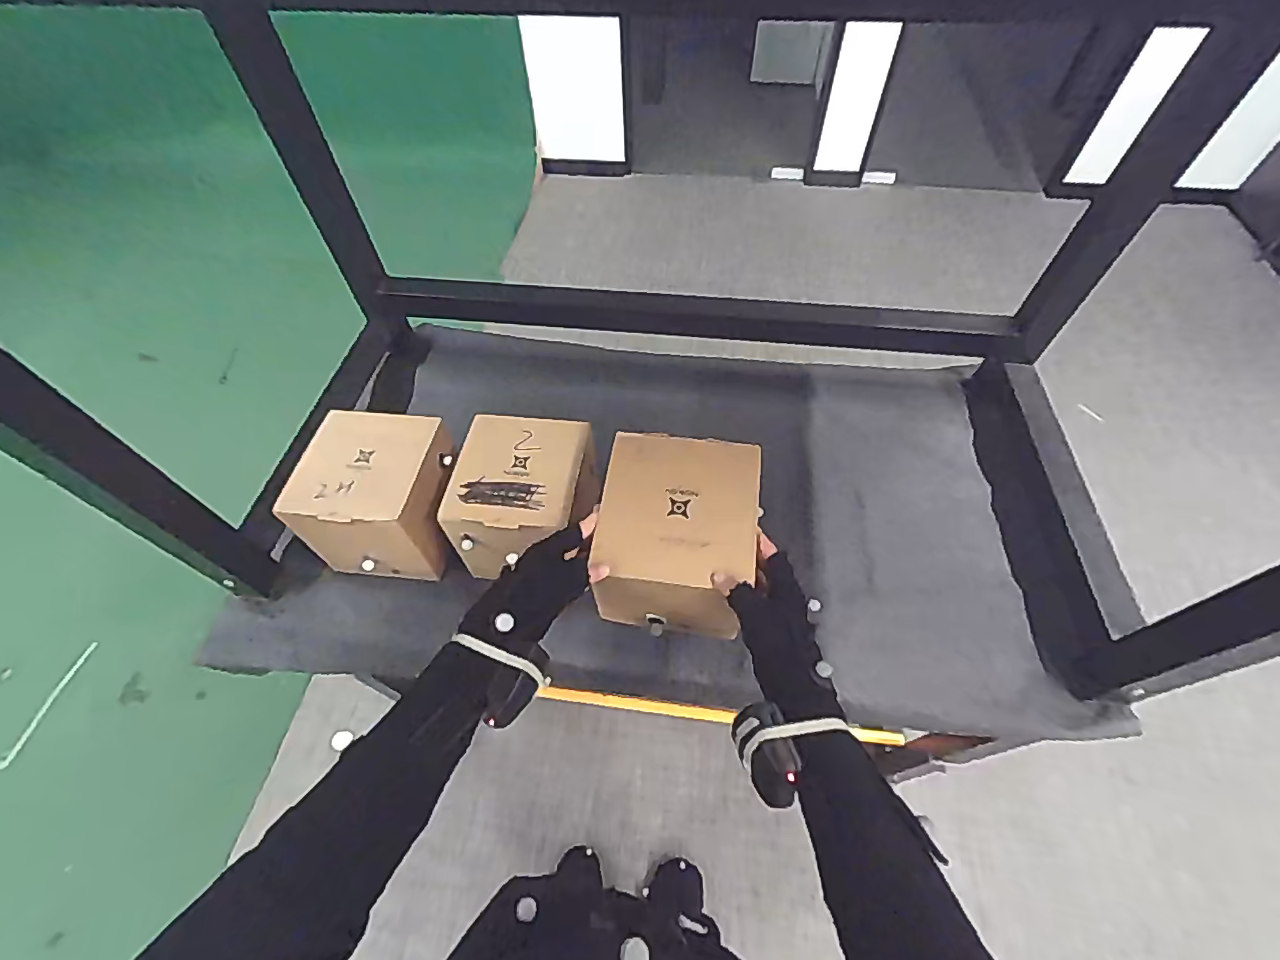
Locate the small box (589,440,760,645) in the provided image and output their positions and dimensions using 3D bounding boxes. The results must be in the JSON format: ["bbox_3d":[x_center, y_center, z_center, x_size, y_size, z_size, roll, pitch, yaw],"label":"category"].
[{"bbox_3d":[0.043,0.078,0.636,0.168,0.176,0.179,6,59,6],"label":"small box"}]

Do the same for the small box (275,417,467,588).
[{"bbox_3d":[-0.364,0.034,0.777,0.168,0.176,0.179,4,54,4],"label":"small box"}]
